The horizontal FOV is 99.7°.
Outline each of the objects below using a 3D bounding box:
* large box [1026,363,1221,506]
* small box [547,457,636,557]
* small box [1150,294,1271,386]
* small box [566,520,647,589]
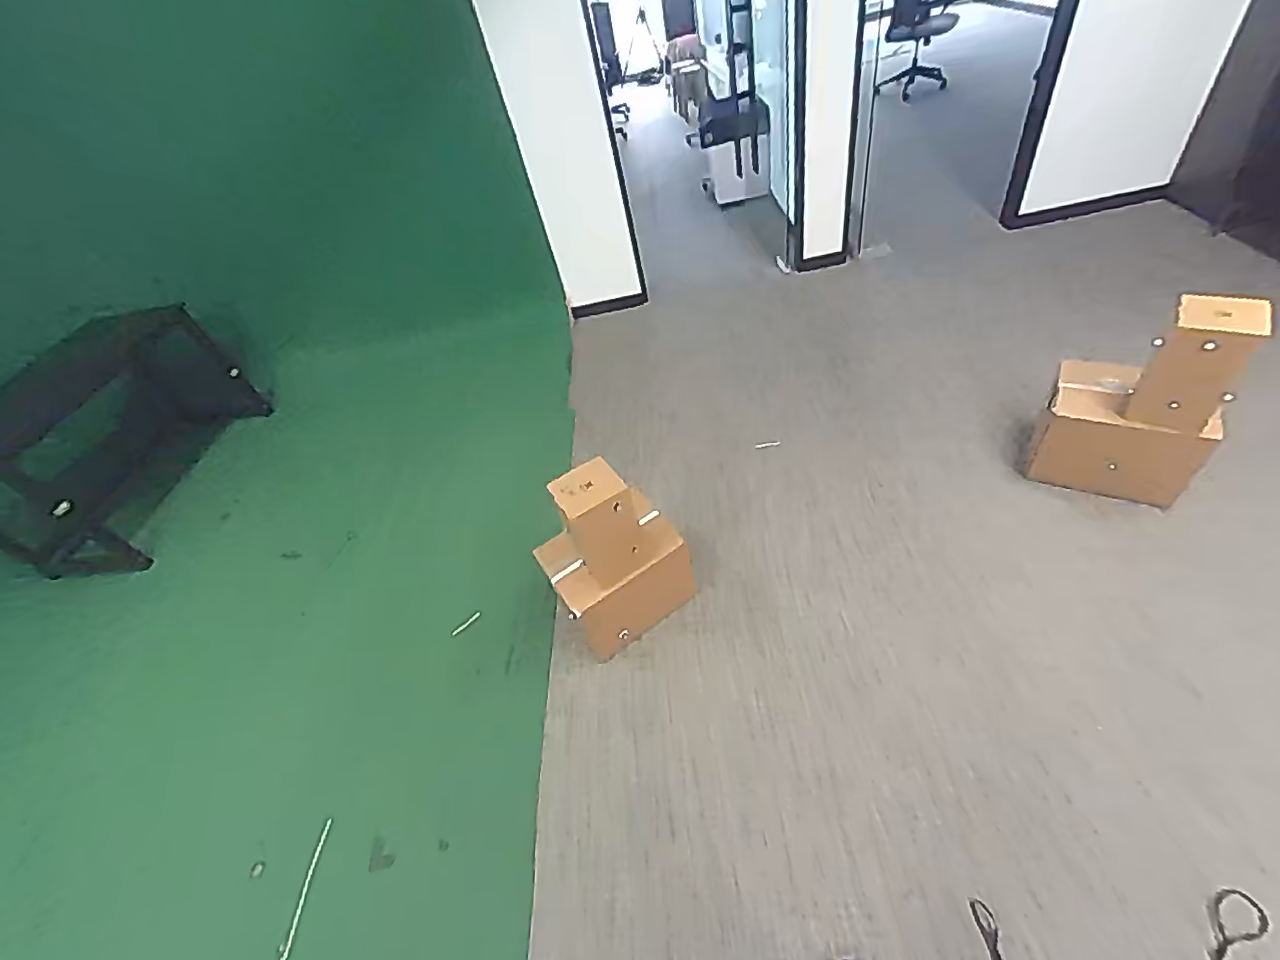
[{"bbox_3d":[1.589,-0.156,1.812,0.408,0.320,0.320,15,52,29],"label":"large box"},{"bbox_3d":[-0.126,0.075,1.482,0.179,0.176,0.168,-30,46,-14],"label":"small box"},{"bbox_3d":[1.535,-0.377,1.461,0.179,0.176,0.168,18,55,31],"label":"small box"},{"bbox_3d":[-0.094,0.186,1.599,0.179,0.176,0.168,-32,47,-15],"label":"small box"}]
